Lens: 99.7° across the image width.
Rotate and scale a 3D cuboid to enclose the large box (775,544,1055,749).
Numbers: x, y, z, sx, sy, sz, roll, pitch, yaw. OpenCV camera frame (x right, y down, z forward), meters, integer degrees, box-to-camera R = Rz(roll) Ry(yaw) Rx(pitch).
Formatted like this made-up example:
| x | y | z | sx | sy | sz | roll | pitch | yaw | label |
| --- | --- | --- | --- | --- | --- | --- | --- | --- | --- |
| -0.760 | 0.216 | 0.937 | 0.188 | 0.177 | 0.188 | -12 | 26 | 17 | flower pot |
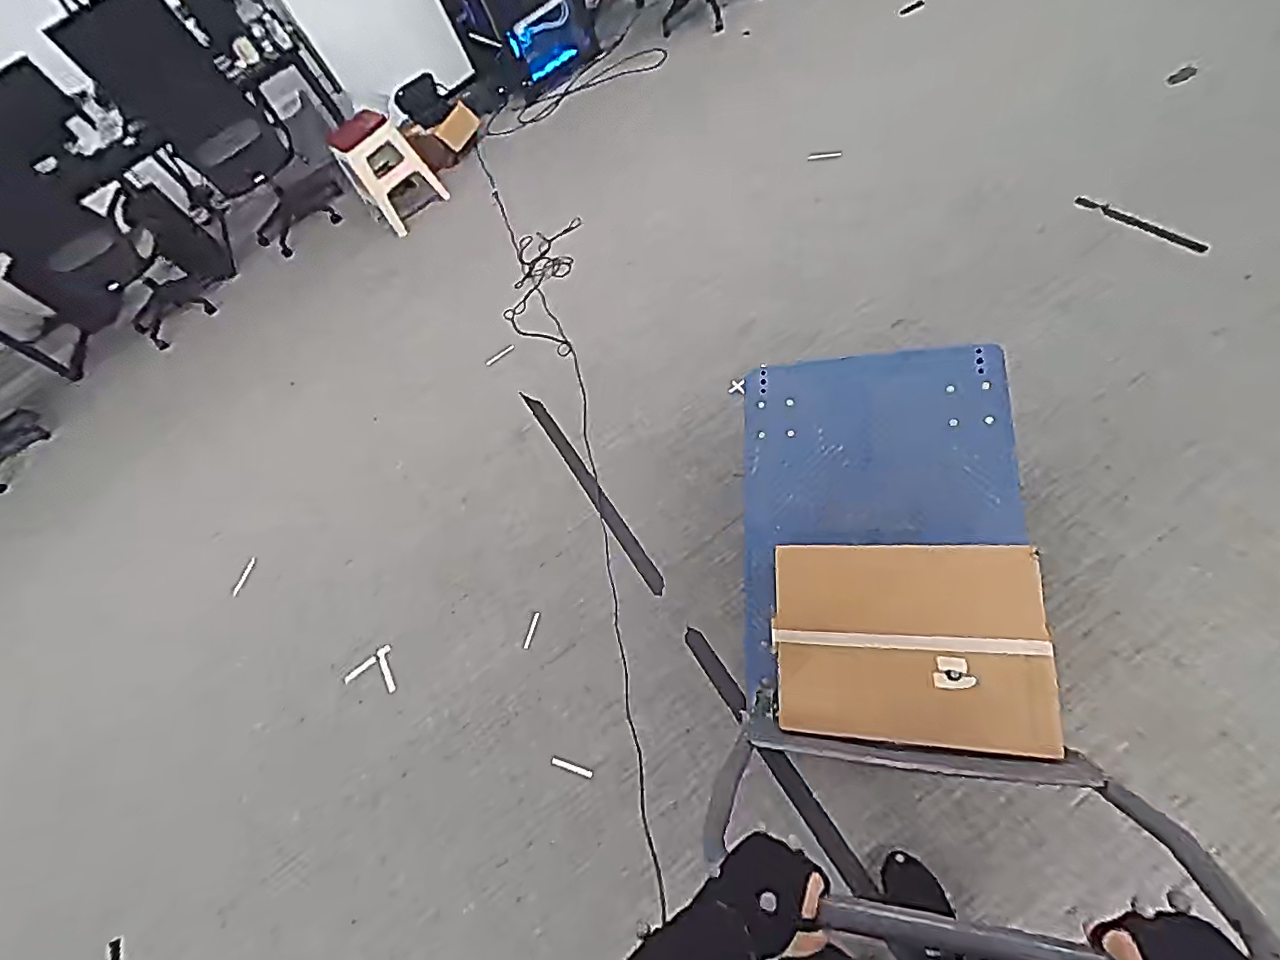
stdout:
| x | y | z | sx | sy | sz | roll | pitch | yaw | label |
| --- | --- | --- | --- | --- | --- | --- | --- | --- | --- |
| 0.479 | 0.299 | 1.035 | 0.408 | 0.320 | 0.320 | -3 | 77 | 18 | large box |
